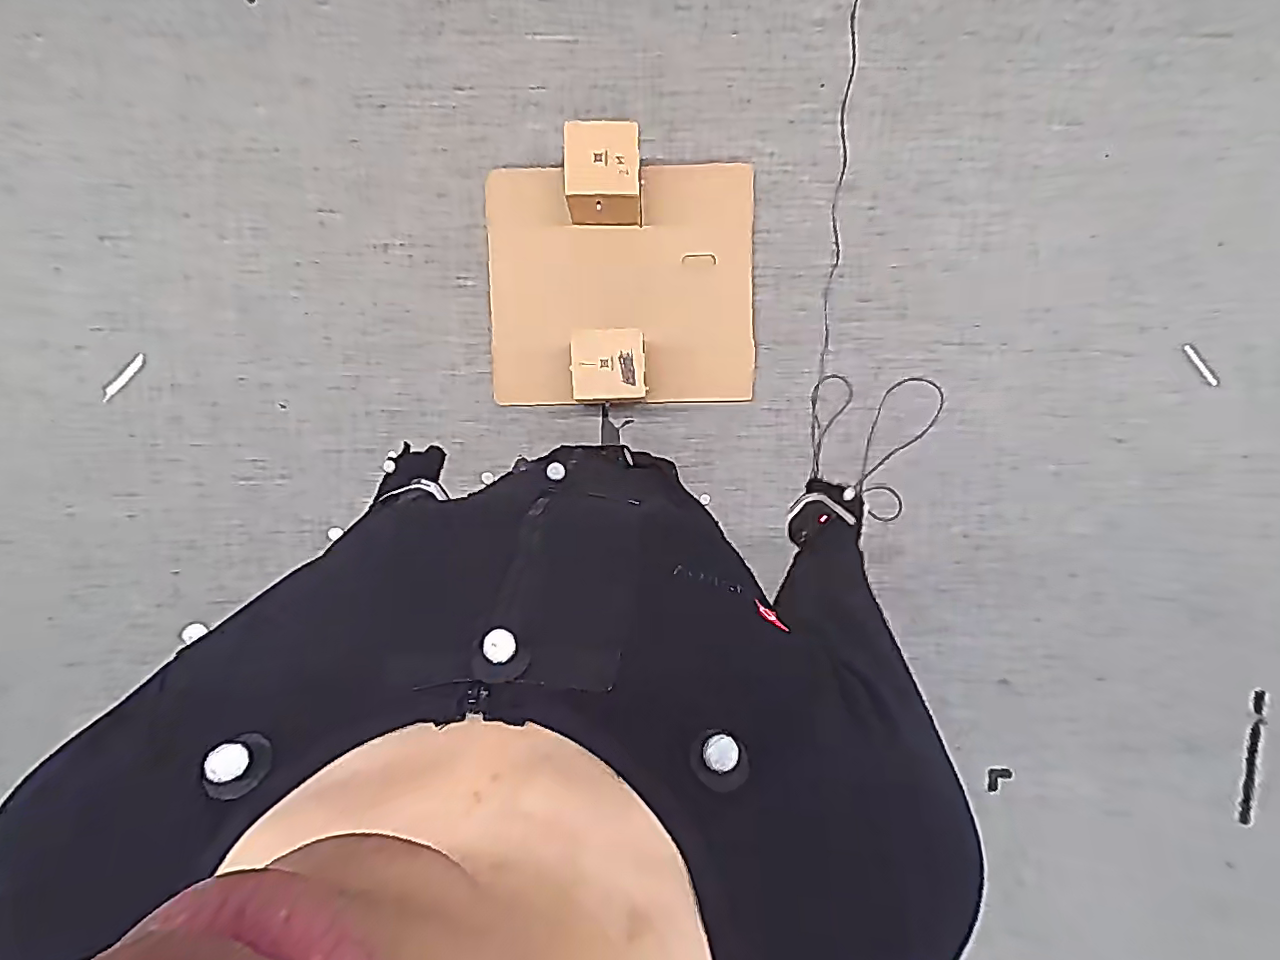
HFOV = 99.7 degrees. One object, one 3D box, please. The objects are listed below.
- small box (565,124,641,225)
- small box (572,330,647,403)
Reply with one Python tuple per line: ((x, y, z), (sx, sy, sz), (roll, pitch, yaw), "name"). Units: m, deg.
((-0.088, -0.744, 1.331), (0.179, 0.176, 0.168), (0, 94, -2), "small box")
((-0.075, -0.283, 1.369), (0.179, 0.176, 0.168), (-2, 95, 0), "small box")
